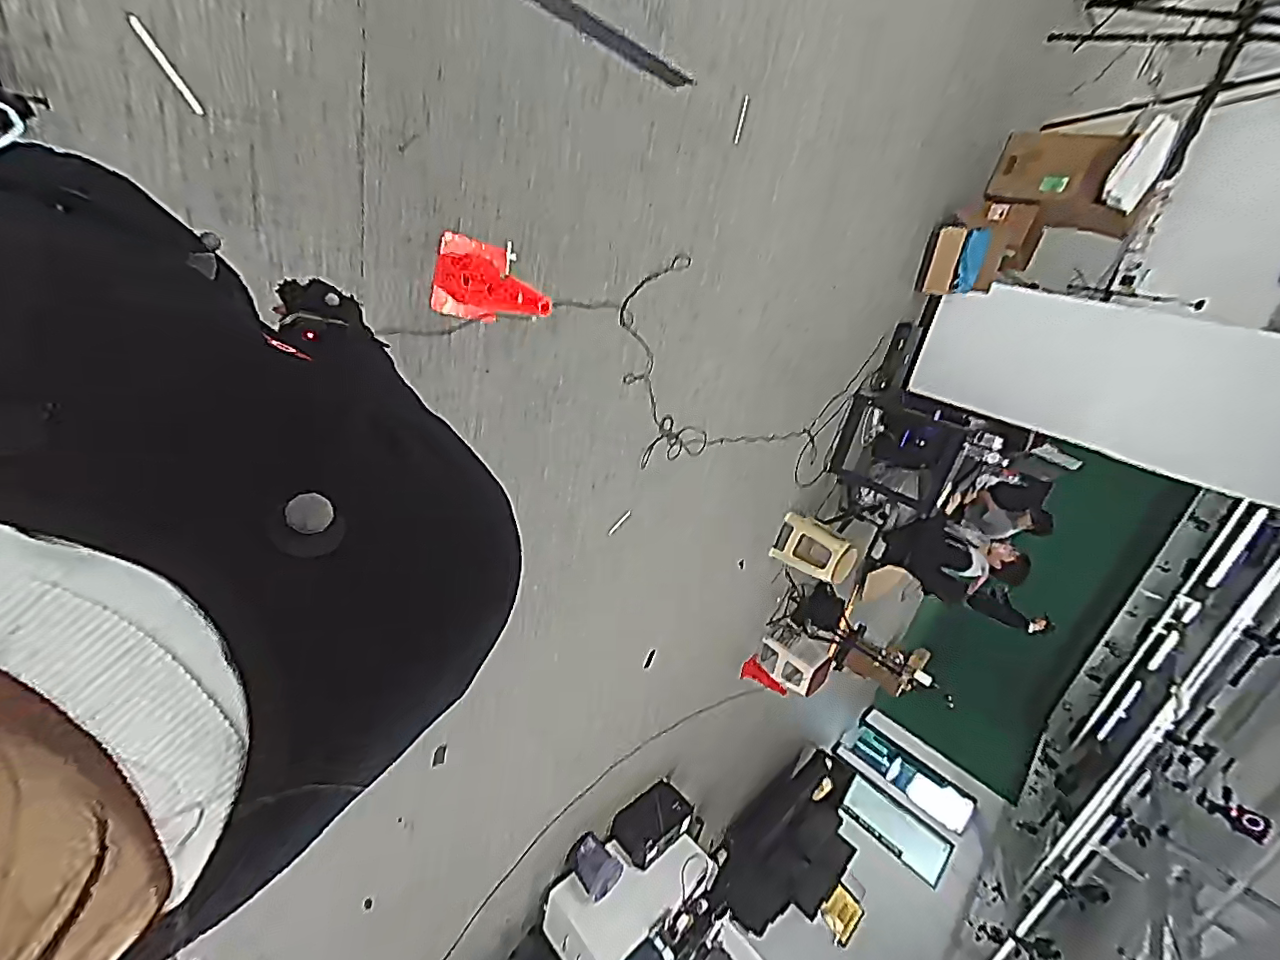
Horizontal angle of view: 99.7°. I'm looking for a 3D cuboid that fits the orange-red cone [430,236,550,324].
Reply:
[{"bbox_3d":[-0.345,-0.467,1.358,0.199,0.360,0.198,0,113,-48],"label":"orange-red cone"}]
